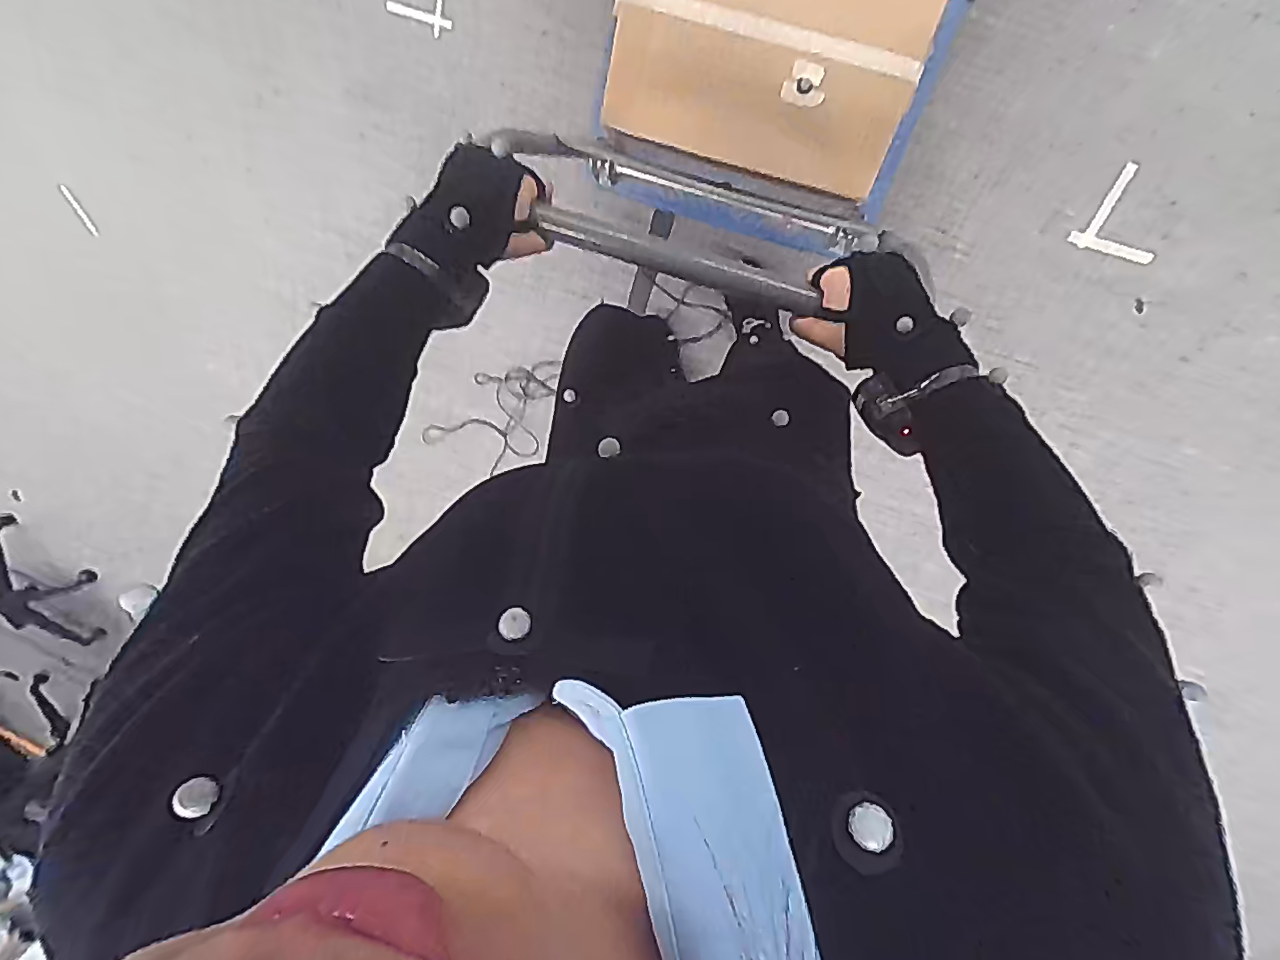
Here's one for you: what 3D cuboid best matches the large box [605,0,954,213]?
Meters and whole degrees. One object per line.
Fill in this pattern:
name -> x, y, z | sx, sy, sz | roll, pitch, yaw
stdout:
large box -> 0.194, -0.630, 0.835 | 0.408, 0.320, 0.320 | 17, 118, 2
